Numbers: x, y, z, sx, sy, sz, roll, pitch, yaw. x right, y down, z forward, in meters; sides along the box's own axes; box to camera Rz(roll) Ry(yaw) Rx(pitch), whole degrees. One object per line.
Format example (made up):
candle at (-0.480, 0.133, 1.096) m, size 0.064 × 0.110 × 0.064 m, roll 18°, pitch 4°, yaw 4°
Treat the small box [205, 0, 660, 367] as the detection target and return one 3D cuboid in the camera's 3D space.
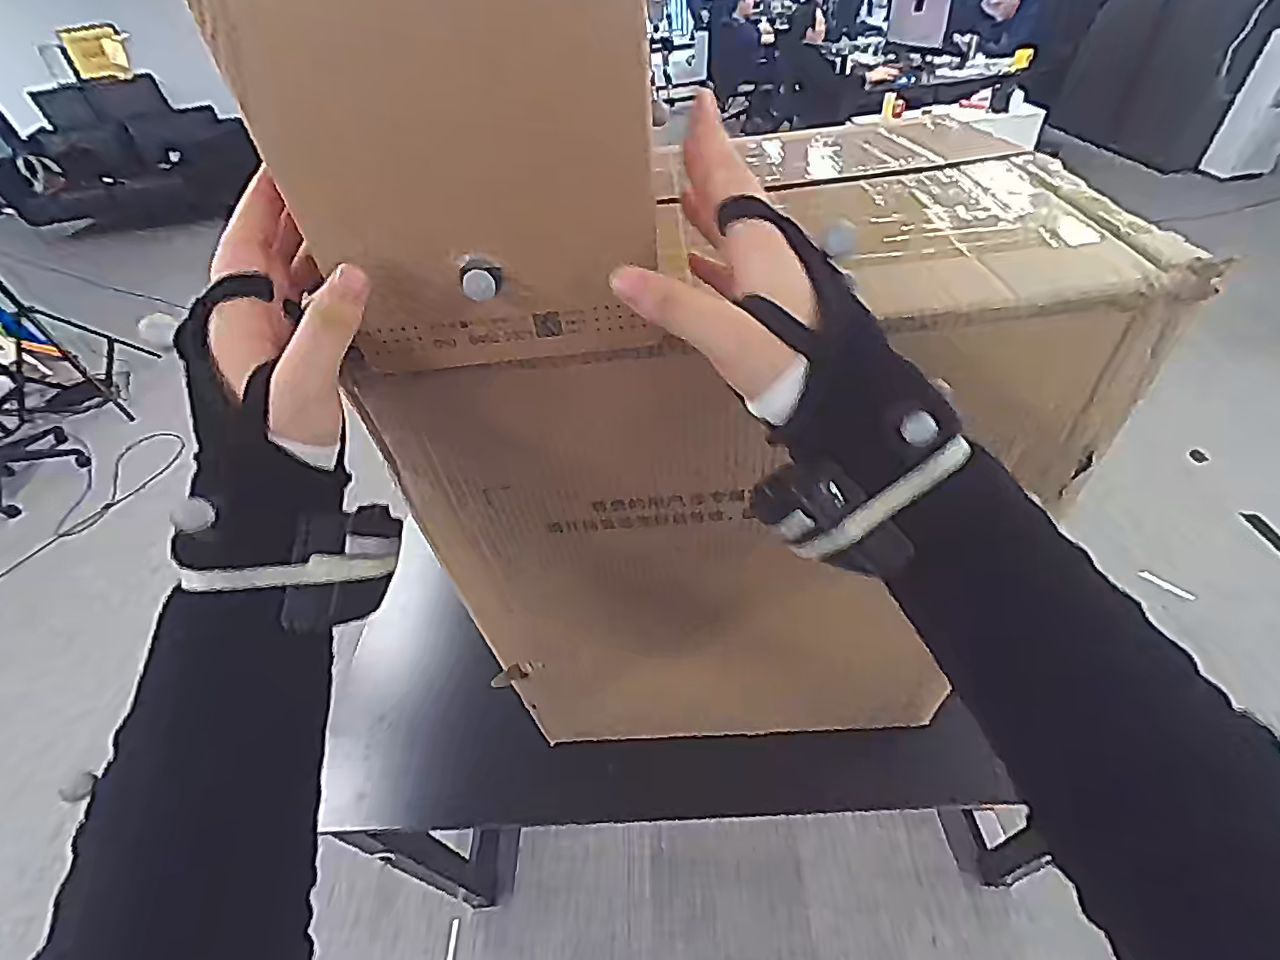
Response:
small box at (-0.079, -0.186, 0.307) m, size 0.168 × 0.176 × 0.179 m, roll -6°, pitch 47°, yaw 0°
